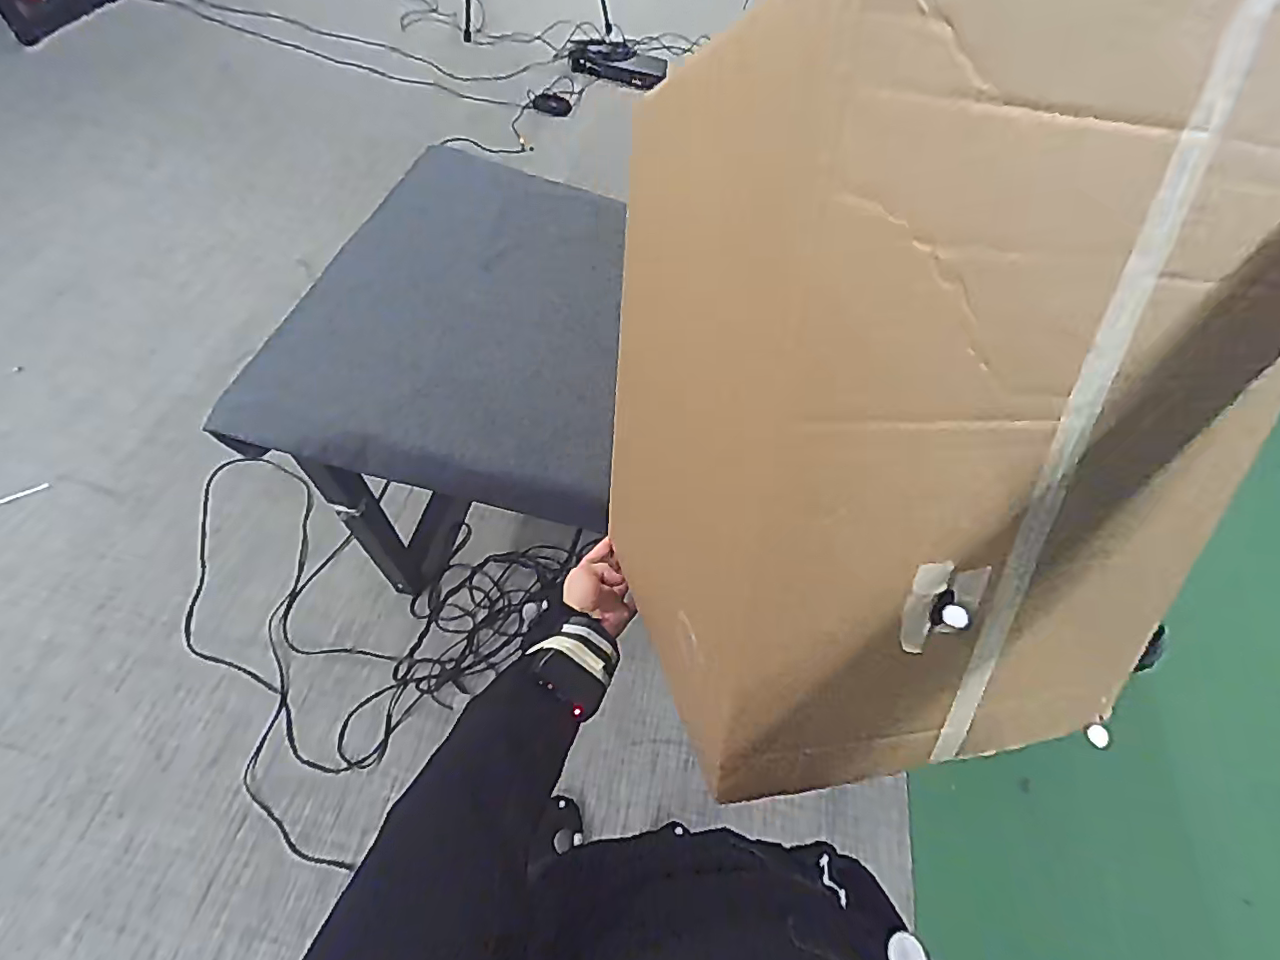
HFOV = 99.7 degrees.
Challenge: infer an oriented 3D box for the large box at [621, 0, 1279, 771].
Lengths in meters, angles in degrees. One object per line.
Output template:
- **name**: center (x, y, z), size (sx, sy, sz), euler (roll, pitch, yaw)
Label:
- **large box**: center (0.172, -0.066, 0.429), size (0.320, 0.408, 0.320), euler (-4, 27, -15)
